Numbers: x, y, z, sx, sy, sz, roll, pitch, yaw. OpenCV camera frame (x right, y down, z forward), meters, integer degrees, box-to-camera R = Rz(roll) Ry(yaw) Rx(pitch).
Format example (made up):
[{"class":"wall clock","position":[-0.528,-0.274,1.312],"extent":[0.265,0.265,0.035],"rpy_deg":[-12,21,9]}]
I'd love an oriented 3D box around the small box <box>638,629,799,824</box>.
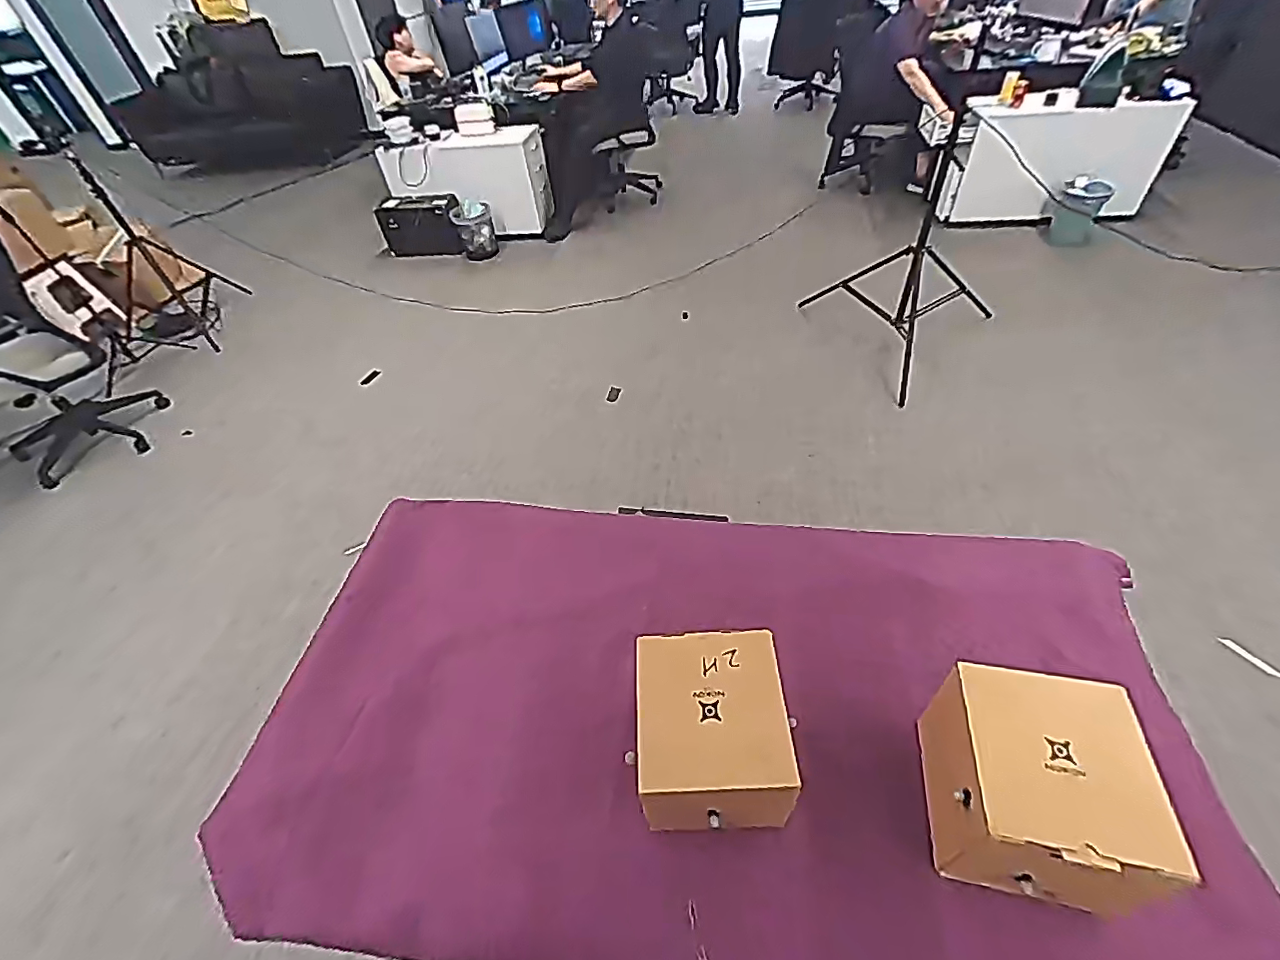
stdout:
[{"class":"small box","position":[0.087,0.304,0.658],"extent":[0.168,0.176,0.179],"rpy_deg":[-4,45,3]}]

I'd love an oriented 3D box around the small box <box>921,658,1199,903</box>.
[{"class":"small box","position":[0.425,0.326,0.593],"extent":[0.168,0.176,0.179],"rpy_deg":[5,46,13]}]
